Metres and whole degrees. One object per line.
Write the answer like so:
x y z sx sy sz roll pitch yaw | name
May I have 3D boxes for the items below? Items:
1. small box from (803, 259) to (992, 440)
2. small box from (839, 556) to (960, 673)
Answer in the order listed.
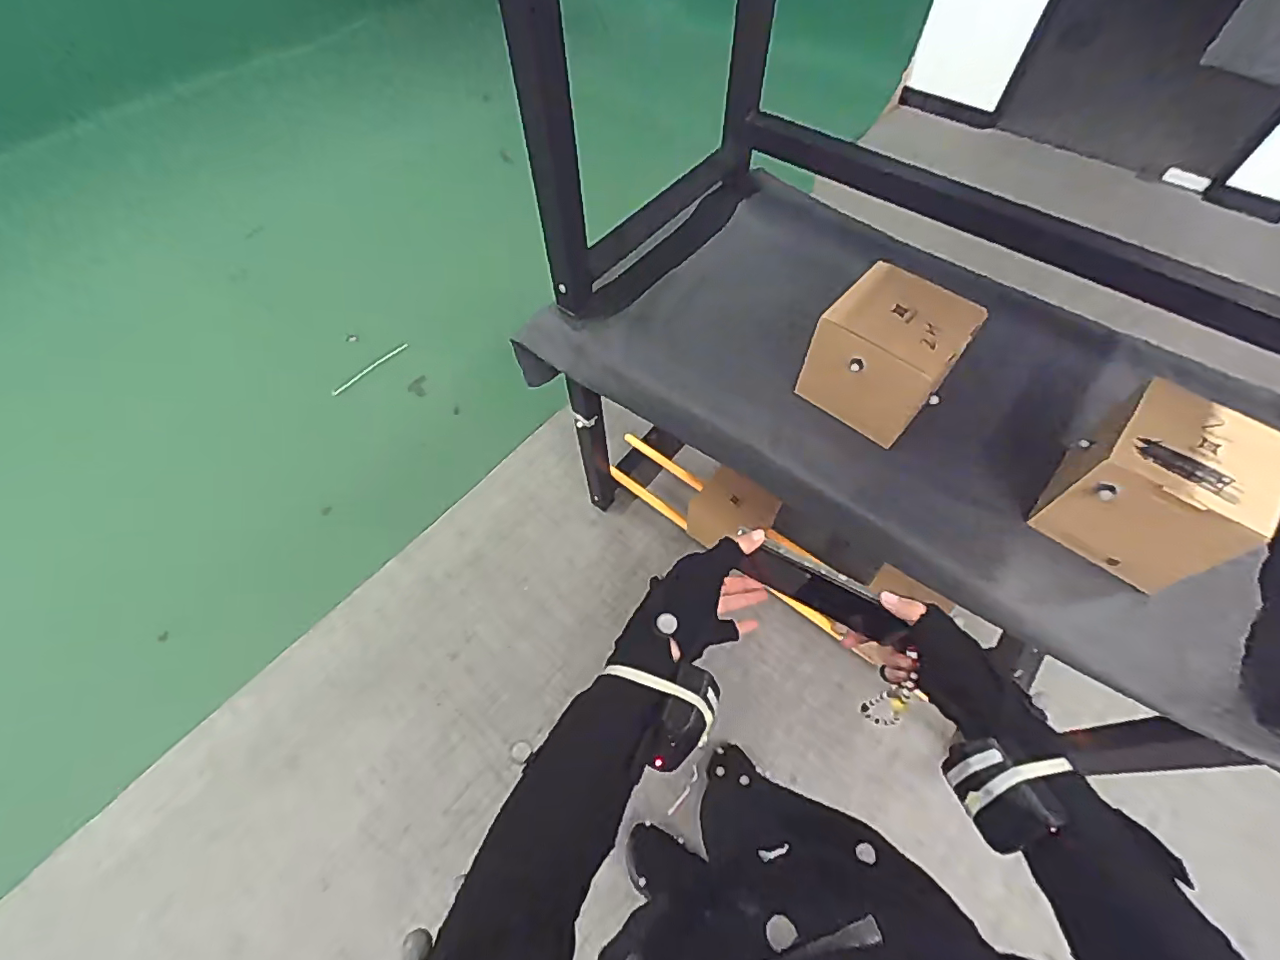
0.375 -0.193 0.820 0.179 0.176 0.168 38 67 22 | small box
0.581 0.314 1.237 0.168 0.176 0.179 38 67 21 | small box
